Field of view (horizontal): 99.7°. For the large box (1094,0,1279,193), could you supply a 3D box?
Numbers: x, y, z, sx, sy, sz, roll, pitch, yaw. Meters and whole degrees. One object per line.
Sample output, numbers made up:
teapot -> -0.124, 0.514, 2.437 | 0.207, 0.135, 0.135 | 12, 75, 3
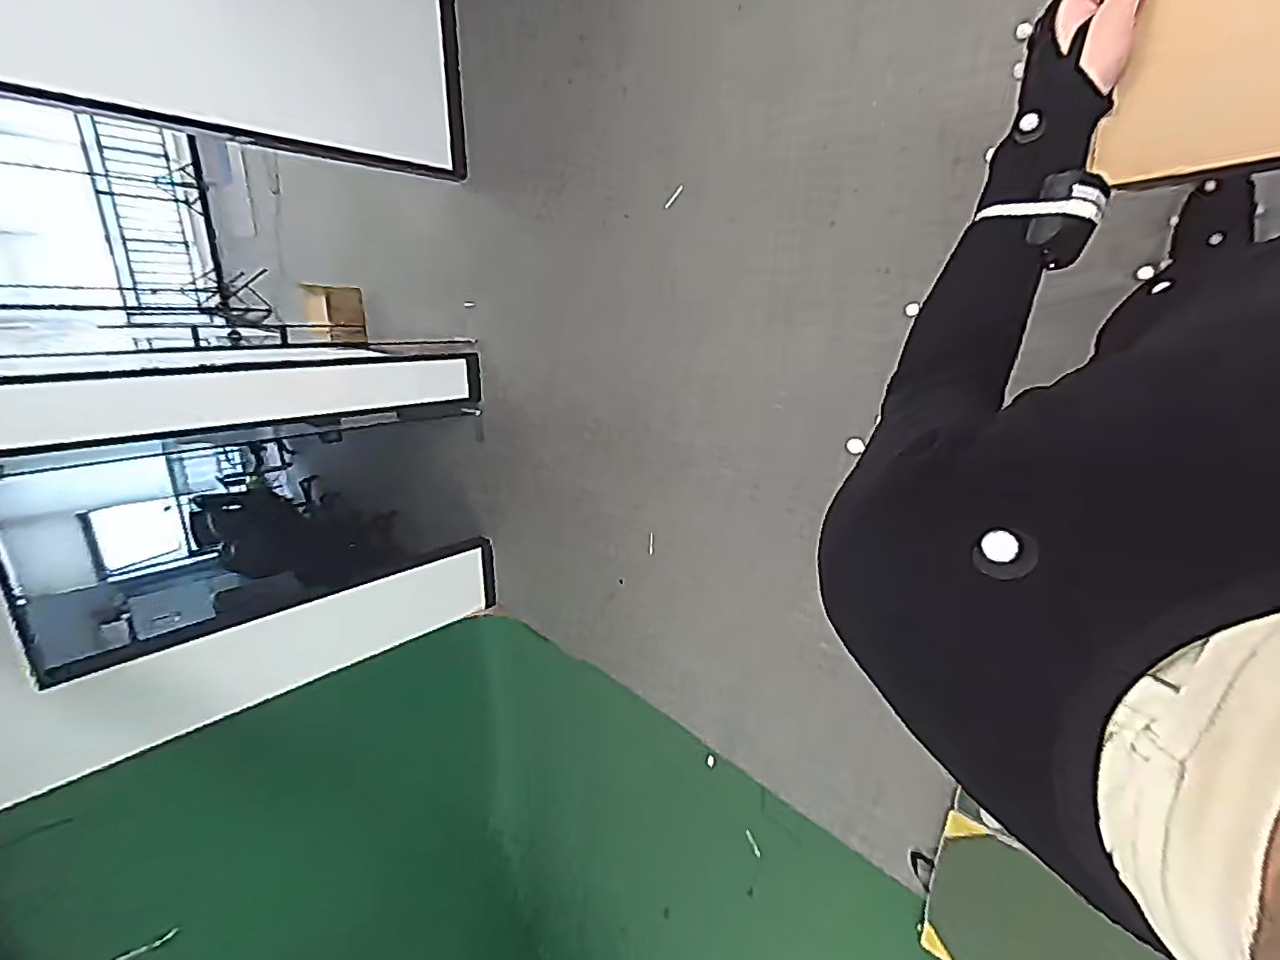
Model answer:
large box -> 0.617, -0.424, 0.387 | 0.408, 0.320, 0.320 | 11, 117, 43
